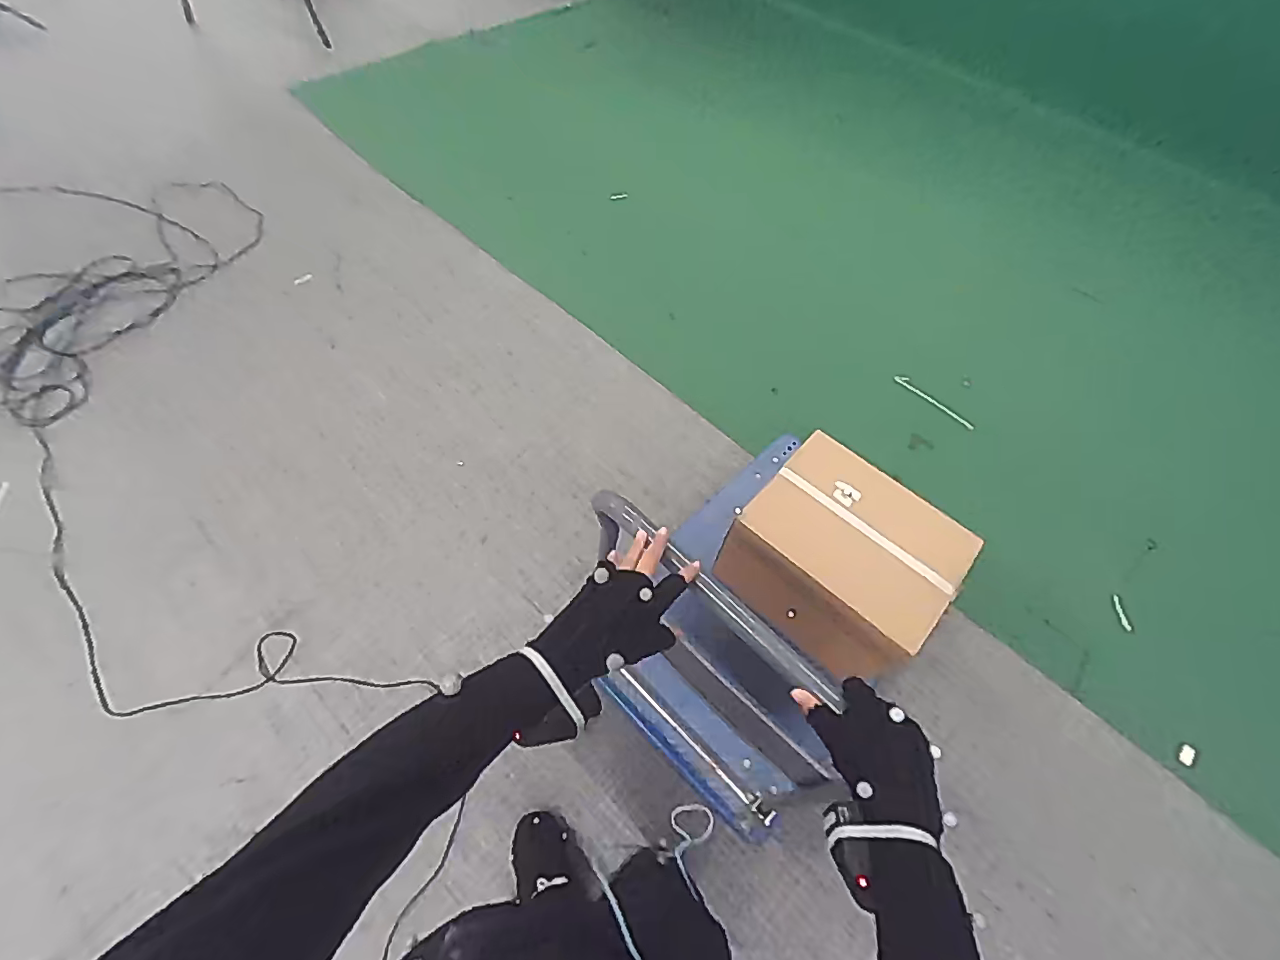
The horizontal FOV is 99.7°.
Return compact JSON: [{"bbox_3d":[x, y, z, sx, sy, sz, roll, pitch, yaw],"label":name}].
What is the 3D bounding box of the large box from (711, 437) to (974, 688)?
[{"bbox_3d":[0.423,0.188,1.214,0.408,0.320,0.320,39,63,20],"label":"large box"}]
